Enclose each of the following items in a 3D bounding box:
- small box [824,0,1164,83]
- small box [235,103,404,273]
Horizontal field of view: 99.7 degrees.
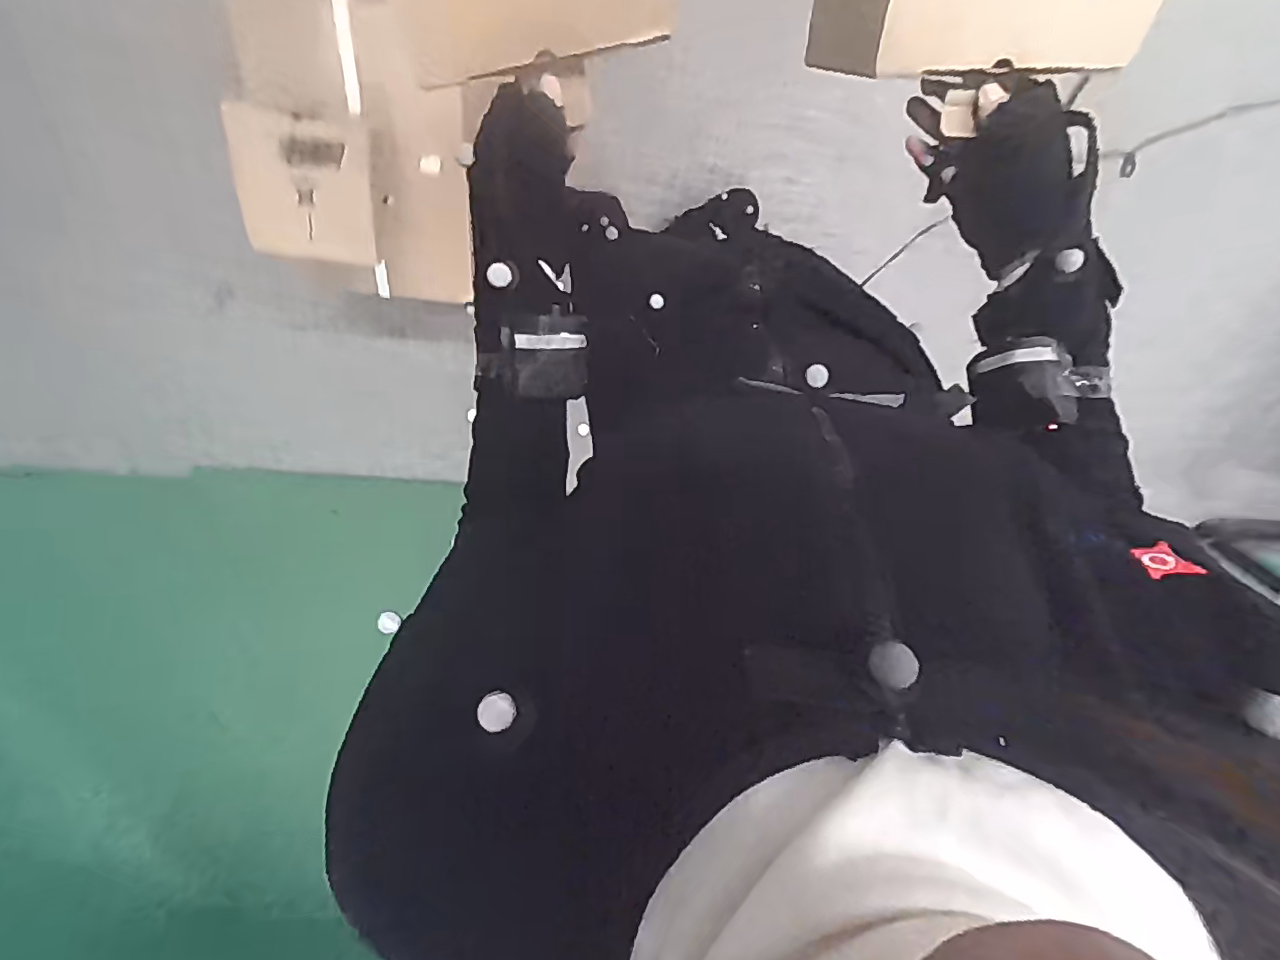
[{"bbox_3d":[0.236,-0.380,0.359,0.168,0.176,0.179,-1,130,-2],"label":"small box"},{"bbox_3d":[-0.450,-0.426,0.788,0.168,0.176,0.179,6,123,-14],"label":"small box"}]
